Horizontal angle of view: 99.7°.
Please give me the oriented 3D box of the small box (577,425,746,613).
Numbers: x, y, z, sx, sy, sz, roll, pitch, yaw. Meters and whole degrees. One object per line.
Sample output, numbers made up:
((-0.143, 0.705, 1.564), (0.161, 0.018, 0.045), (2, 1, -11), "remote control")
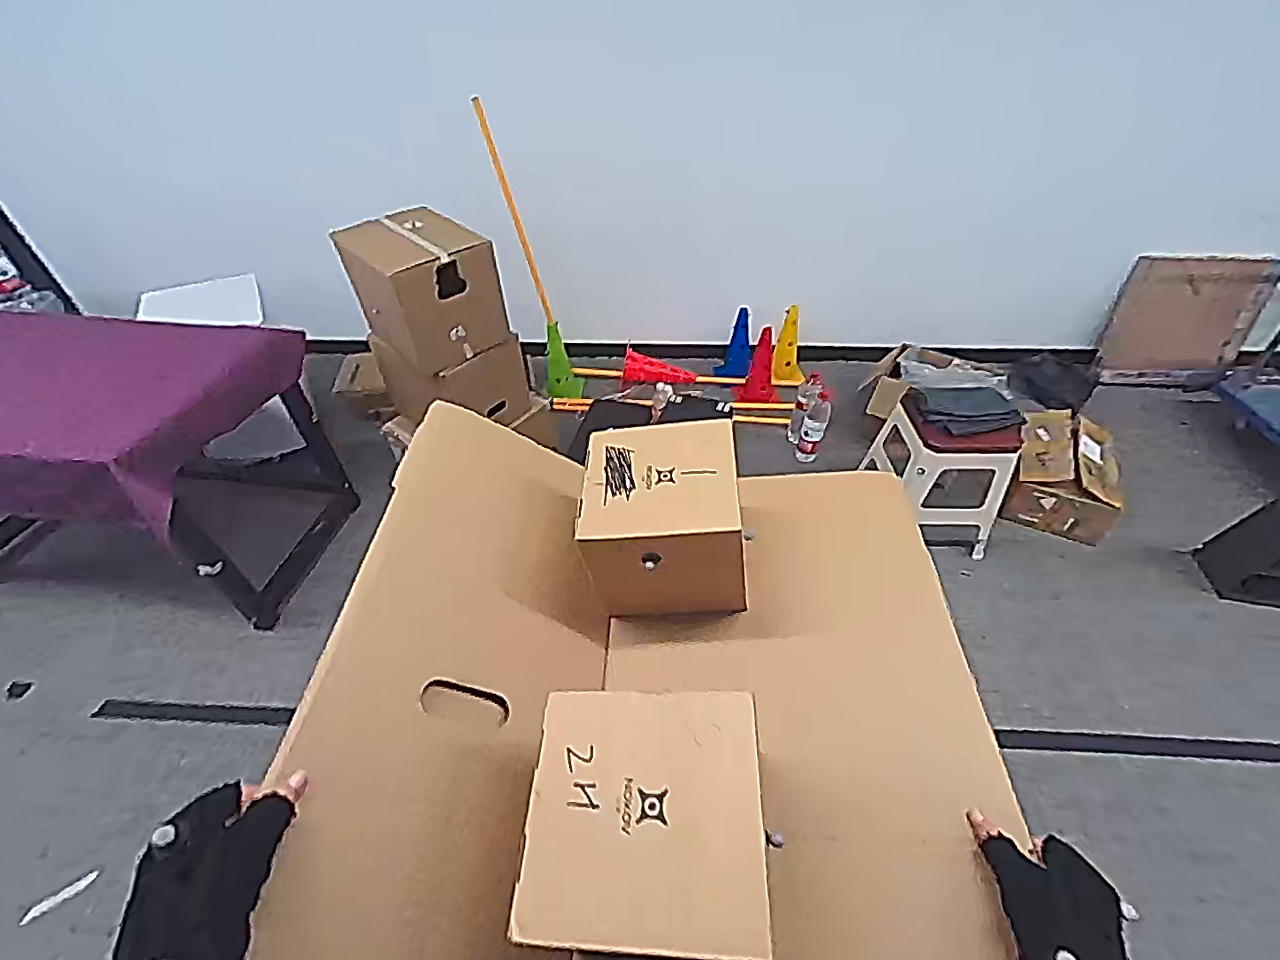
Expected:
((0.036, 0.054, 0.674), (0.179, 0.176, 0.168), (-4, 48, 9), "small box")

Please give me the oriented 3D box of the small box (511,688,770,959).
((0.017, 0.293, 0.465), (0.179, 0.176, 0.168), (-3, 48, 11), "small box")
